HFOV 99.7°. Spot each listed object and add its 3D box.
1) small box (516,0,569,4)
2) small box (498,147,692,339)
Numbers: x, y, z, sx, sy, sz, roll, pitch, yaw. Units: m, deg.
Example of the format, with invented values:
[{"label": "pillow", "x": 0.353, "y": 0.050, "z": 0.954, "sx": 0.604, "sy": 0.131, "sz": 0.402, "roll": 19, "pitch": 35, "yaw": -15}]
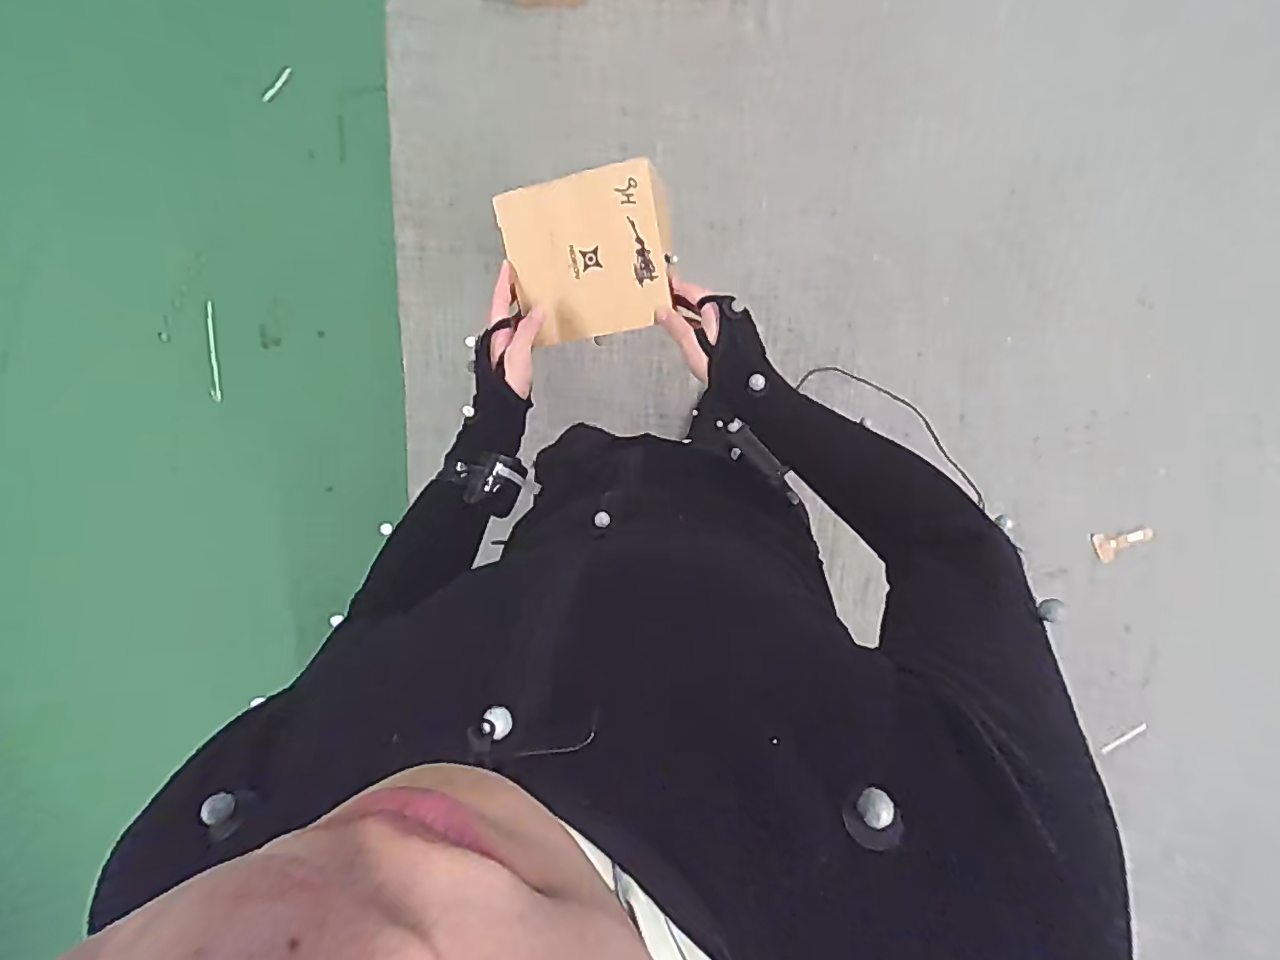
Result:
[{"label": "small box", "x": -0.249, "y": -1.303, "z": 1.309, "sx": 0.179, "sy": 0.176, "sz": 0.168, "roll": 4, "pitch": 101, "yaw": 8}, {"label": "small box", "x": -0.040, "y": -0.267, "z": 0.644, "sx": 0.179, "sy": 0.176, "sz": 0.168, "roll": -6, "pitch": 108, "yaw": 12}]
